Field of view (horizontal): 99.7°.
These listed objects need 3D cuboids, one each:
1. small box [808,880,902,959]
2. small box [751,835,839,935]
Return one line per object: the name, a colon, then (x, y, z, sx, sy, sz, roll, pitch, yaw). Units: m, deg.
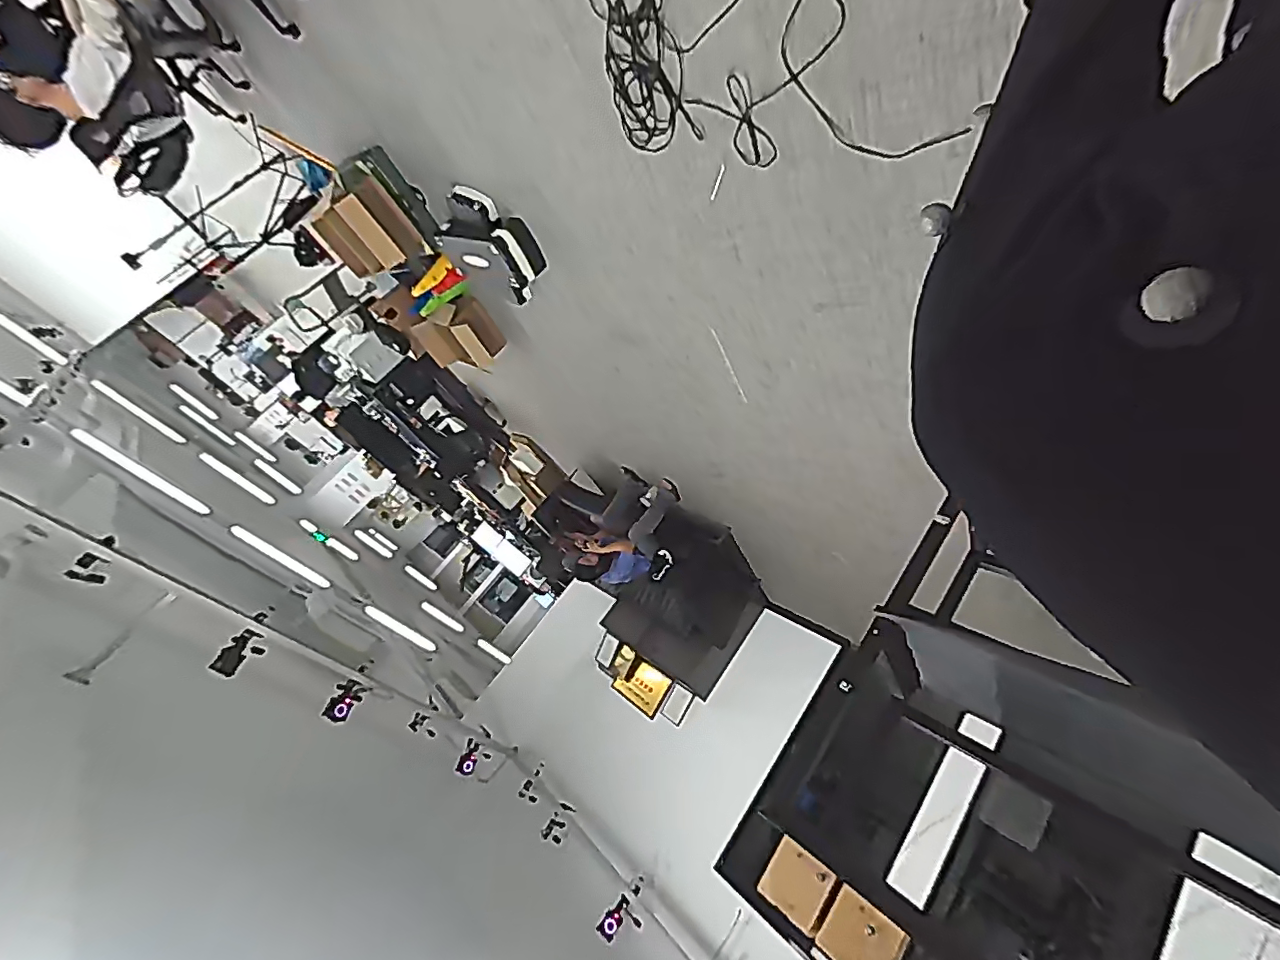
small box: (0.575, 1.207, 1.433, 0.168, 0.176, 0.179, 23, 156, 42)
small box: (0.451, 1.161, 1.558, 0.168, 0.176, 0.179, 22, 156, 42)
